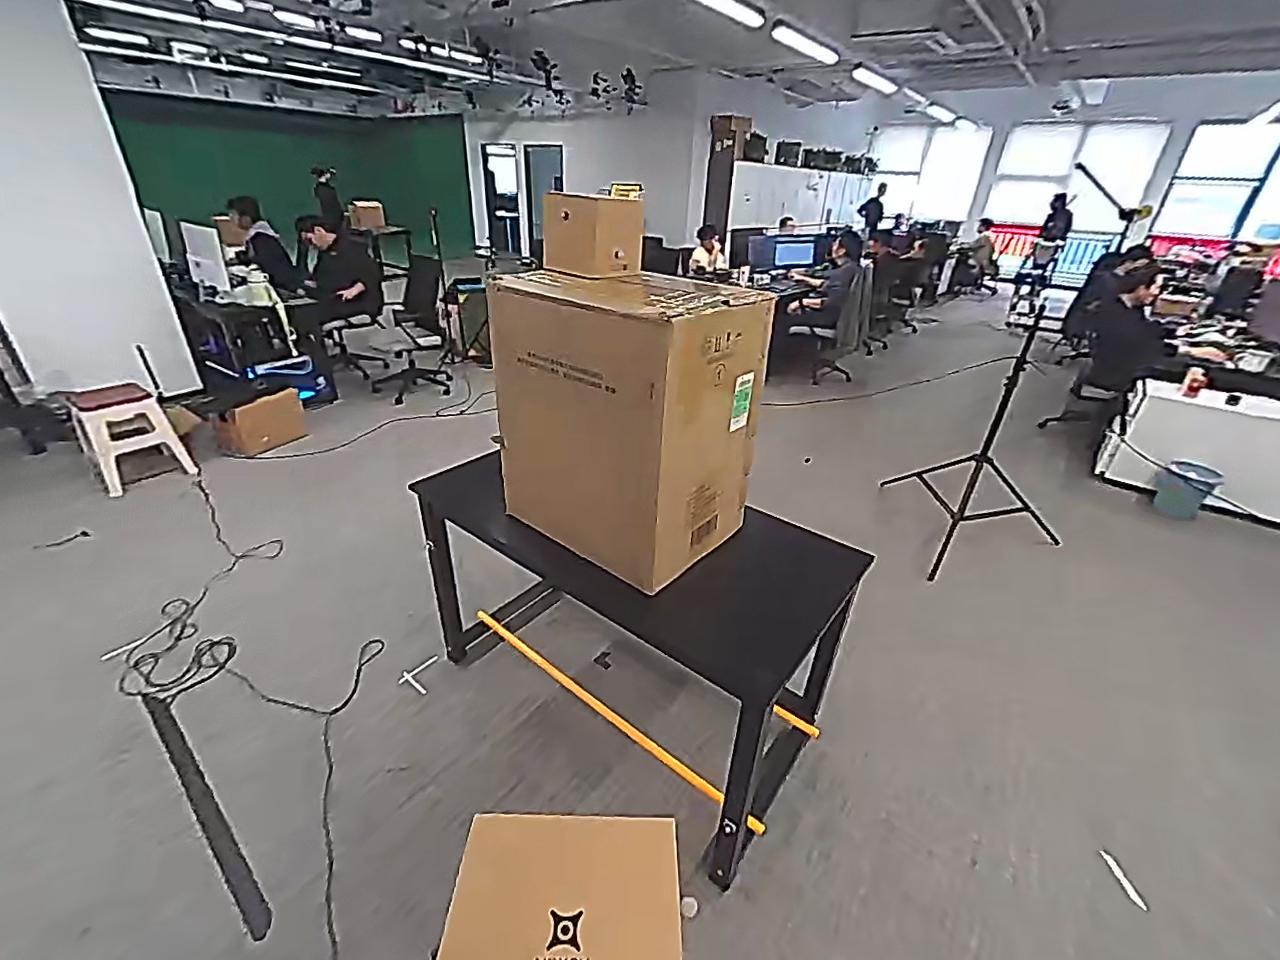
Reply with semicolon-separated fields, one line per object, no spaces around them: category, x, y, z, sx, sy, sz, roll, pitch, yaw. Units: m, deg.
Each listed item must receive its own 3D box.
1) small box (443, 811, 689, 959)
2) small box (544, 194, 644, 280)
small box;-0.052;0.385;0.403;0.168;0.176;0.179;2;28;-1
small box;-0.112;-0.577;1.287;0.179;0.176;0.168;25;34;32
